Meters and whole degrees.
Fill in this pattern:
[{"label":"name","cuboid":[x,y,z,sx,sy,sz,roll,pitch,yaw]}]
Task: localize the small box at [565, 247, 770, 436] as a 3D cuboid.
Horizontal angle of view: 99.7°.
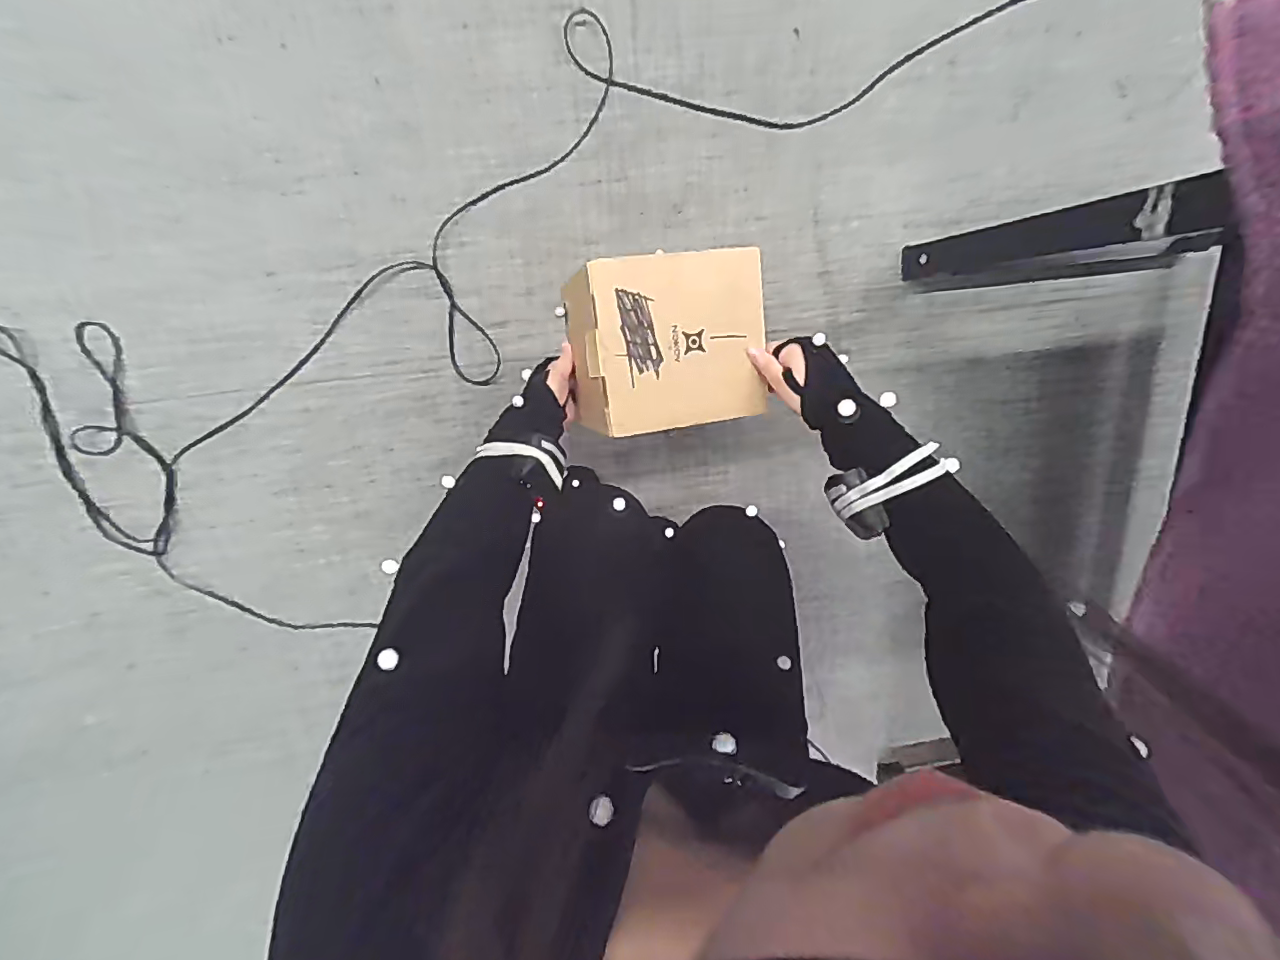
[{"label":"small box","cuboid":[0.020,-0.148,0.595,0.179,0.176,0.168,-11,105,-16]}]
